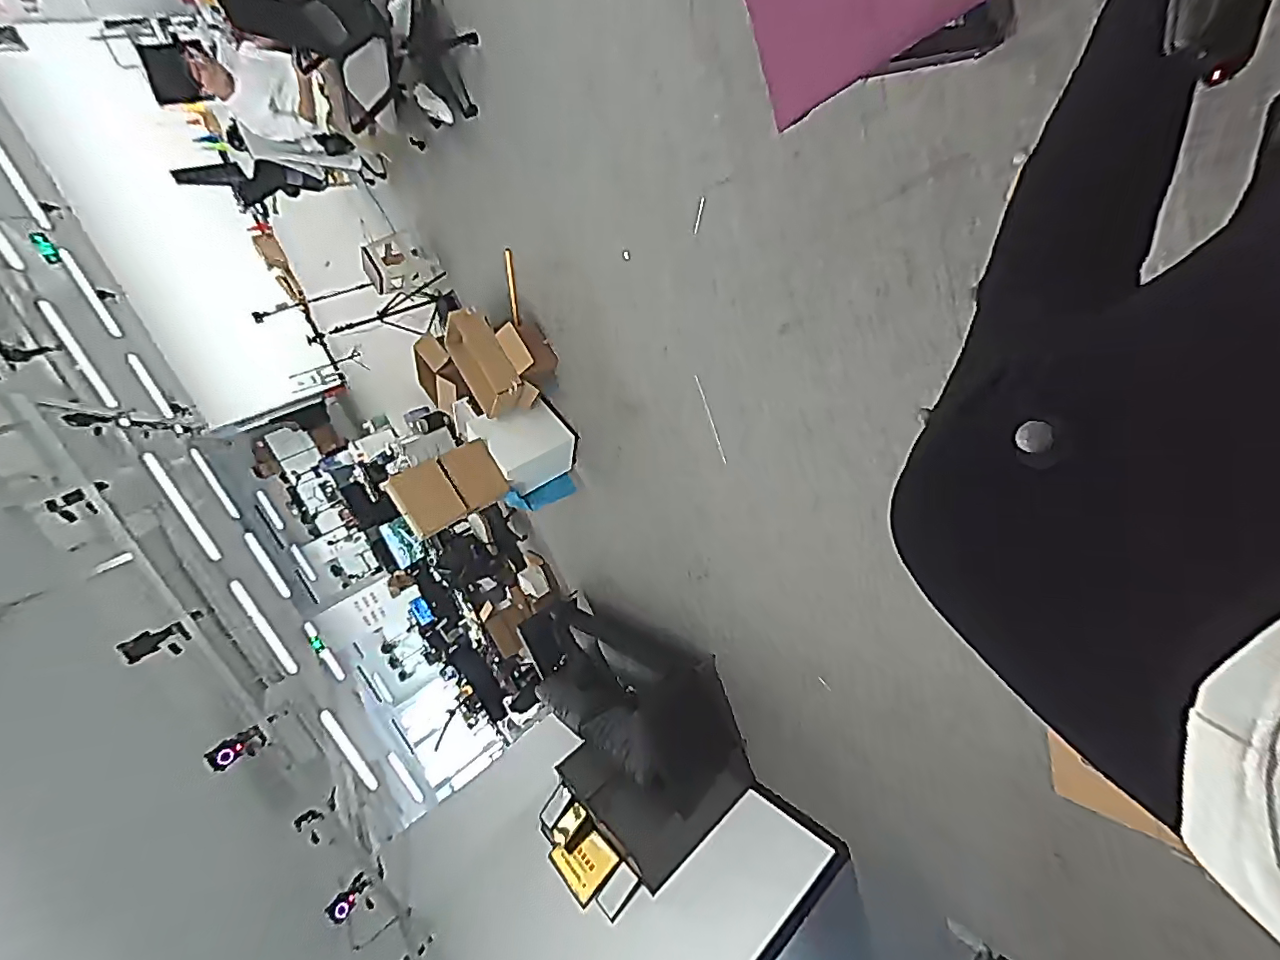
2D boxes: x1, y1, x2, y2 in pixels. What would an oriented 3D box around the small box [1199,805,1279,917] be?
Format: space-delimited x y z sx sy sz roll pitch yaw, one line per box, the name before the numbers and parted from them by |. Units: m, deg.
small box | 1.722 1.053 1.510 0.179 0.176 0.168 19 132 50
